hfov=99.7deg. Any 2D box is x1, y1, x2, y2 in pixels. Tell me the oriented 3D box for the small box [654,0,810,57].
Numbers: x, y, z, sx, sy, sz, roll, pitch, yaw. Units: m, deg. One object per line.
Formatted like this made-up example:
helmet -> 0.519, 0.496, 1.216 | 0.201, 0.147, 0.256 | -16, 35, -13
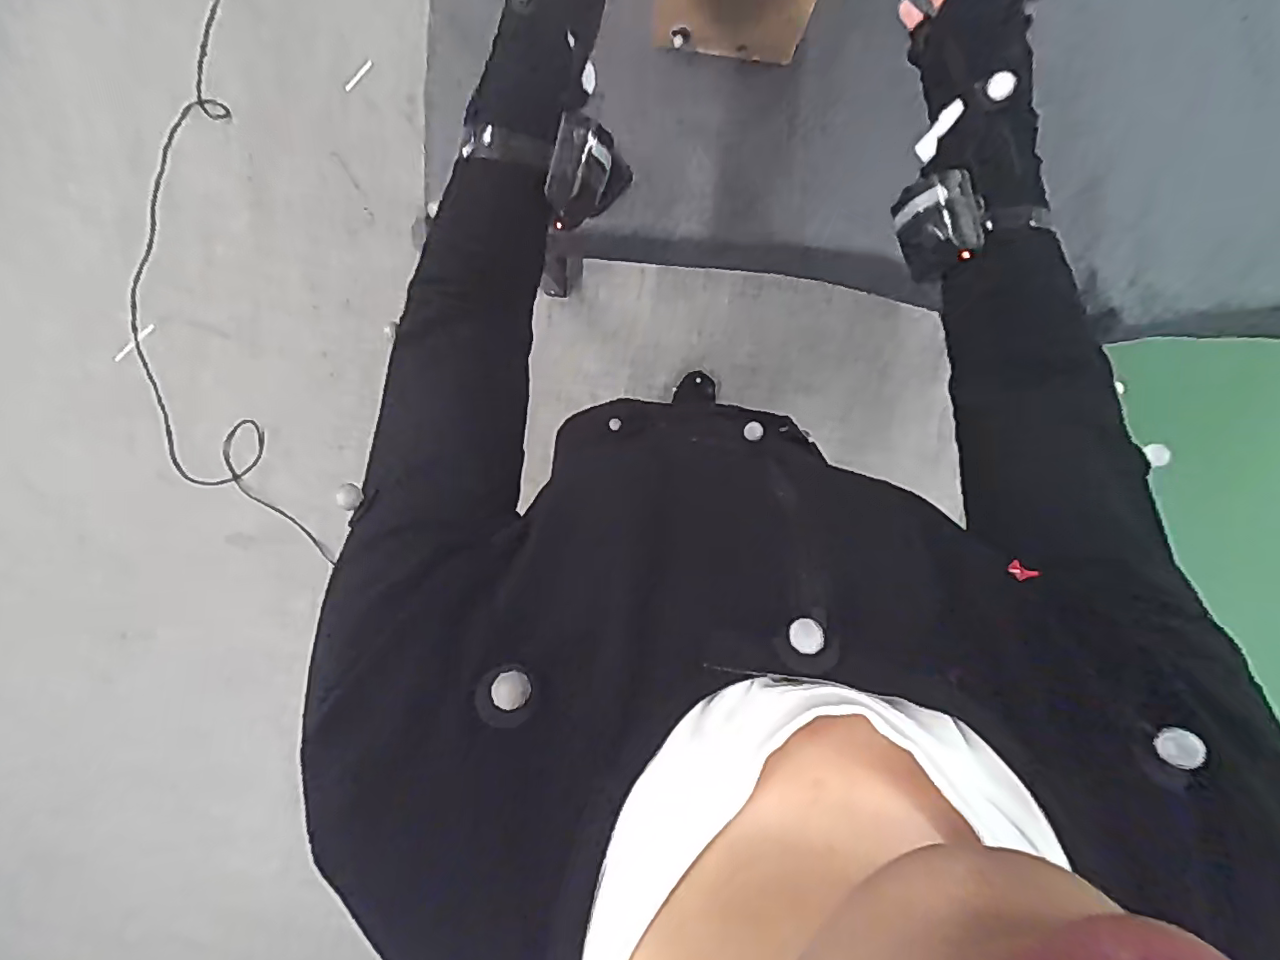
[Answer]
small box -> 0.106, -0.575, 0.544 | 0.168, 0.176, 0.179 | 8, 98, -2
